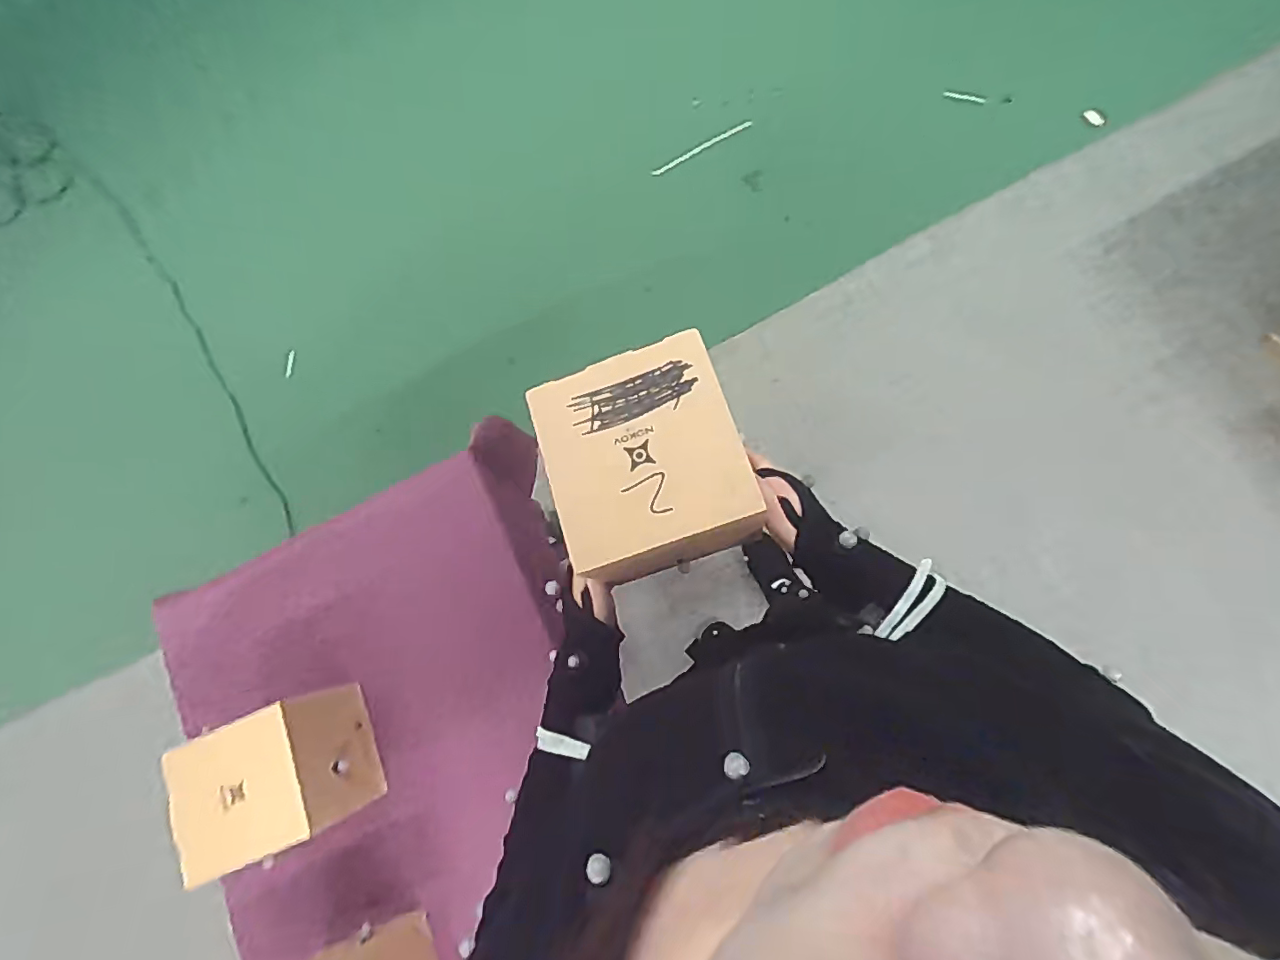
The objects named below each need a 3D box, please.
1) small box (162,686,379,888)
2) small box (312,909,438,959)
[{"bbox_3d":[-0.493,0.406,0.749,0.179,0.176,0.168,-25,76,3],"label":"small box"},{"bbox_3d":[-0.354,0.691,0.665,0.168,0.176,0.179,-25,75,2],"label":"small box"}]
